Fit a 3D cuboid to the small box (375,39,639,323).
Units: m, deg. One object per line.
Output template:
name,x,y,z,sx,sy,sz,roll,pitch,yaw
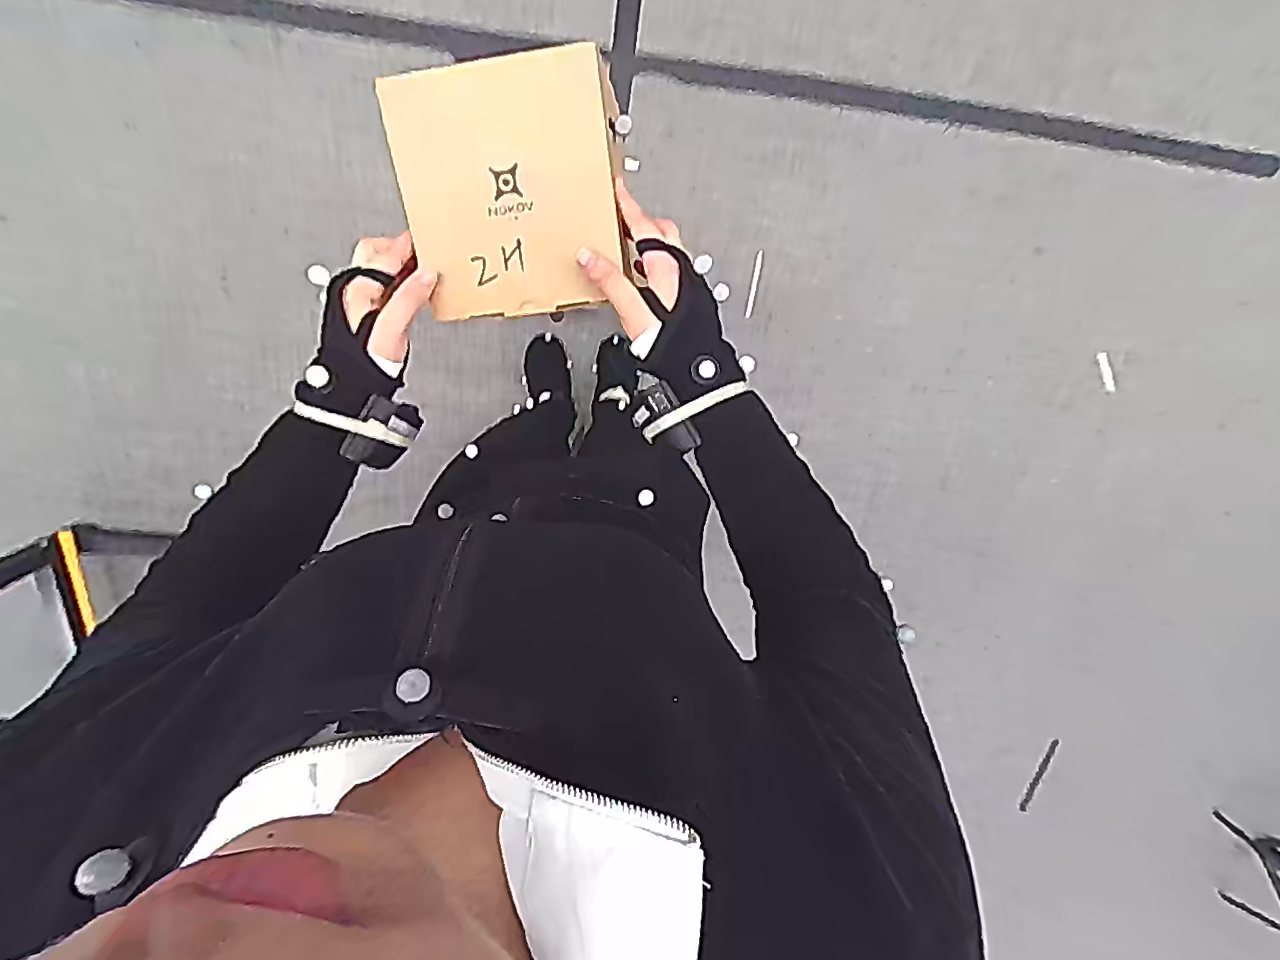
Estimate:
small box,-0.095,-0.243,0.480,0.168,0.176,0.179,-5,111,7
